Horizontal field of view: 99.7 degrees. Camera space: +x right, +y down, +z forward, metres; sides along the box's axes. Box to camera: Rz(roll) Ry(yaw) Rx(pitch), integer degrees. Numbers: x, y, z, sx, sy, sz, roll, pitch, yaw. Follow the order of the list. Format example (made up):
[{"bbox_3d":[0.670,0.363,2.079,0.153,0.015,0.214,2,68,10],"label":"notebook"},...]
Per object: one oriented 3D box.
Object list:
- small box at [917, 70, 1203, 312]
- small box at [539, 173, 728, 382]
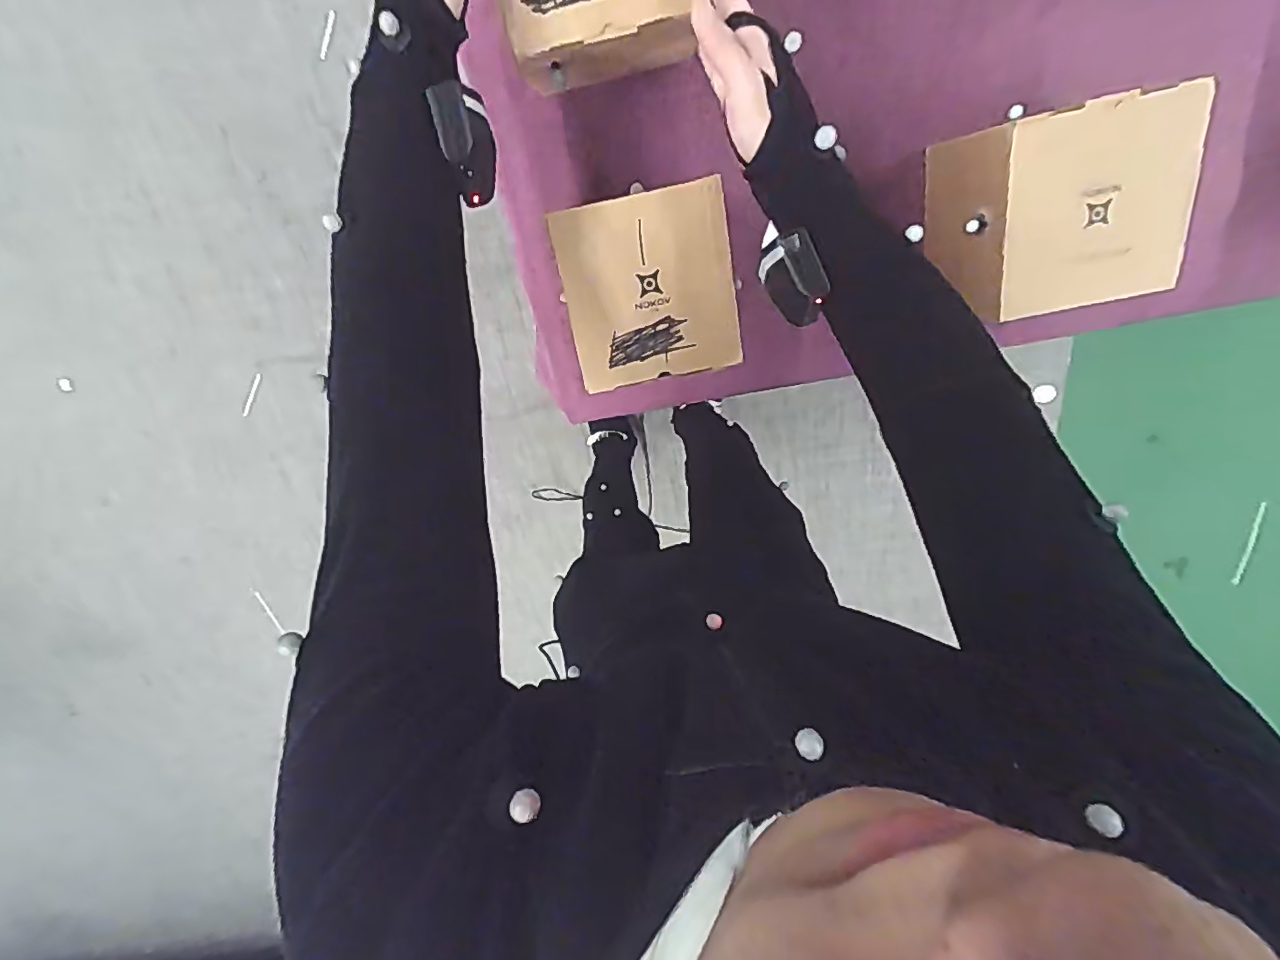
[{"bbox_3d":[0.411,-0.290,0.569,0.168,0.176,0.179,-9,116,7],"label":"small box"},{"bbox_3d":[0.001,-0.228,0.607,0.168,0.176,0.179,-9,114,6],"label":"small box"}]
